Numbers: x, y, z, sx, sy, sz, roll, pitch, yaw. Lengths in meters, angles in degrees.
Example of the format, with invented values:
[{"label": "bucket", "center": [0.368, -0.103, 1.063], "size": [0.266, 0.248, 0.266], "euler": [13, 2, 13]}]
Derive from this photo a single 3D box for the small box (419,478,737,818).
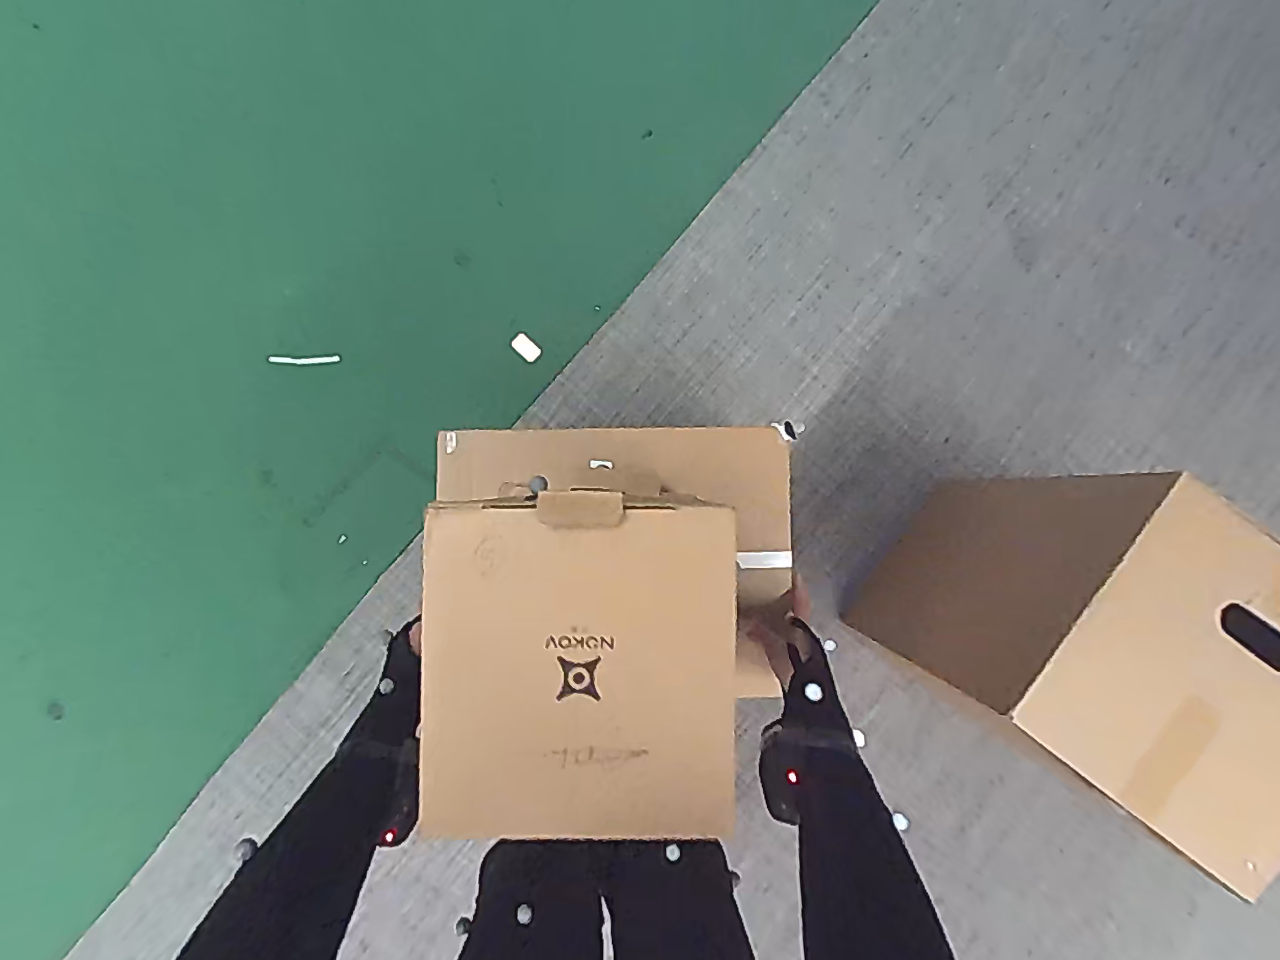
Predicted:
[{"label": "small box", "center": [-0.032, 0.091, 0.365], "size": [0.168, 0.176, 0.179], "euler": [1, 88, 0]}]
